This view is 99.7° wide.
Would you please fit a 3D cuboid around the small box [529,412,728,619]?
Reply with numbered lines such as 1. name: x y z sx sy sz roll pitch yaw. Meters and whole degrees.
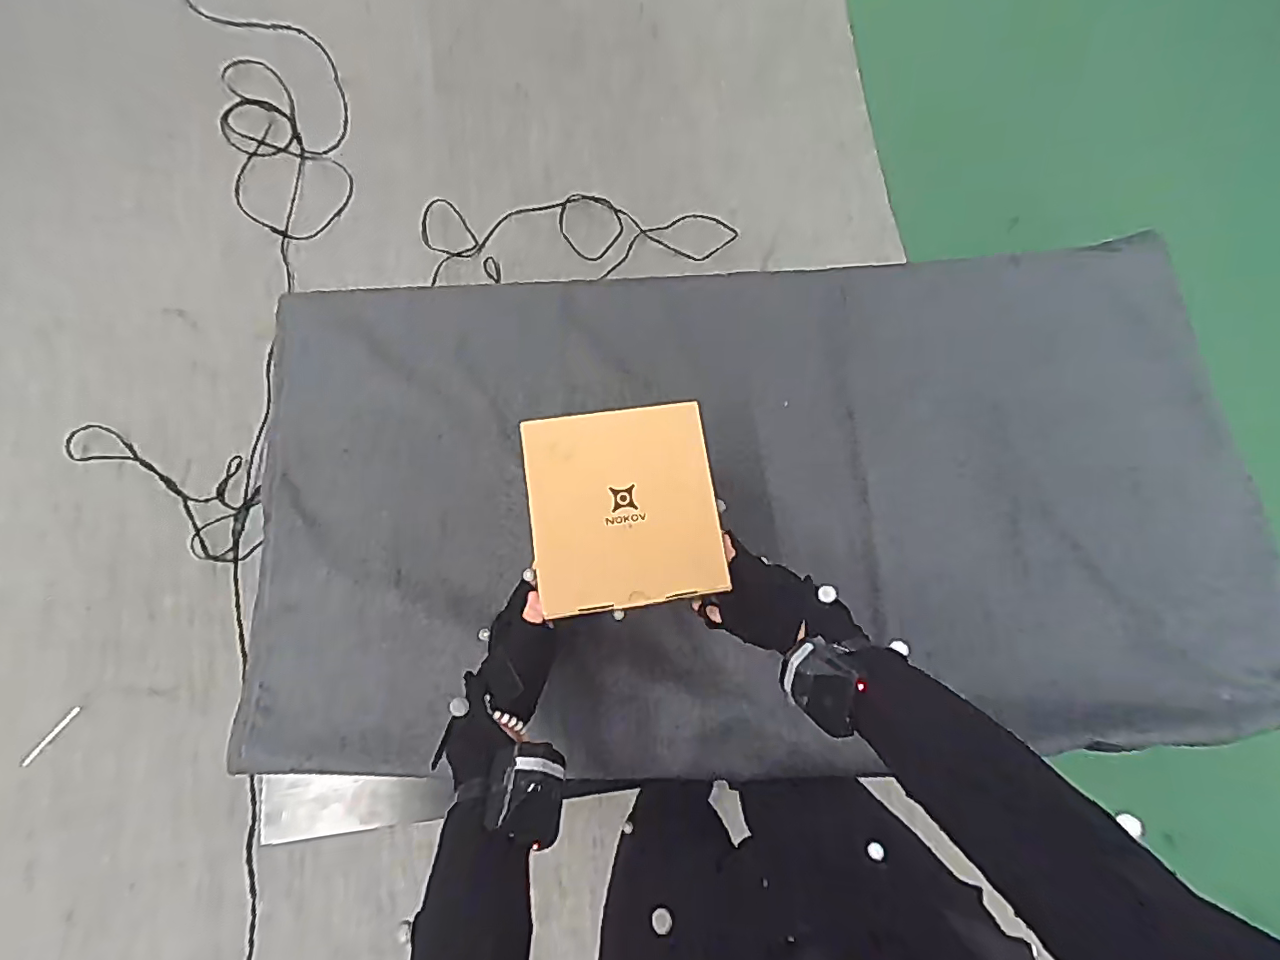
1. small box: -0.021 0.045 0.564 0.168 0.176 0.179 -7 78 -7
